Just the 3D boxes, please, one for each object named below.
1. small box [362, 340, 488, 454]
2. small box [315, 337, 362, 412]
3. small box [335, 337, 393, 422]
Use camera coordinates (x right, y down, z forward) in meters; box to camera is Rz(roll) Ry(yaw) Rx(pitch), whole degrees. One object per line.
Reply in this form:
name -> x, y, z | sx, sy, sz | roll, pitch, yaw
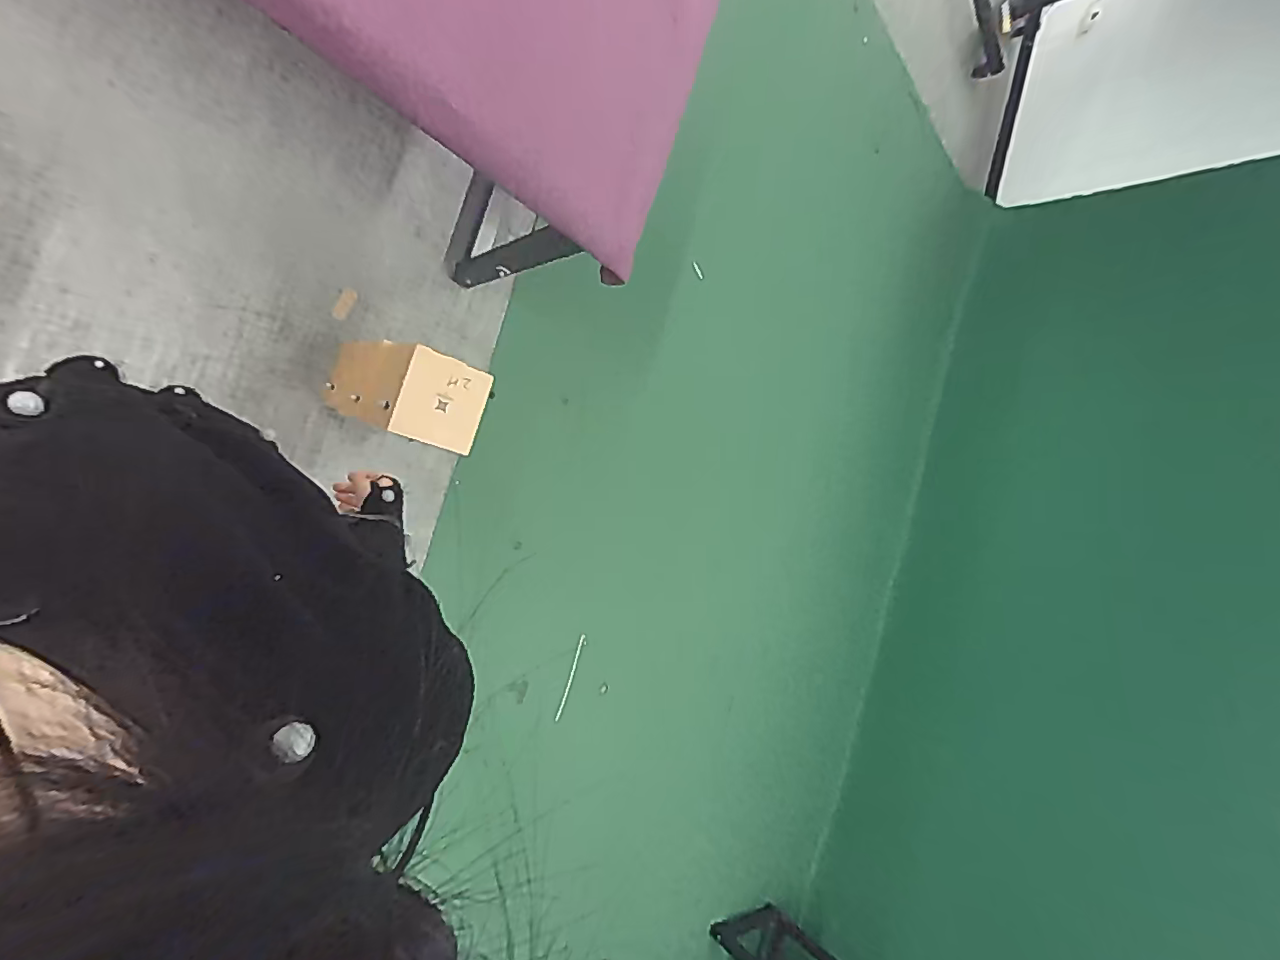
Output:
small box -> -0.444, -0.169, 1.104 | 0.168, 0.176, 0.179 | 21, 85, -43
small box -> -0.669, -0.233, 1.331 | 0.179, 0.176, 0.168 | 23, 83, -42
small box -> -0.559, -0.206, 1.216 | 0.168, 0.176, 0.179 | 20, 86, -43
